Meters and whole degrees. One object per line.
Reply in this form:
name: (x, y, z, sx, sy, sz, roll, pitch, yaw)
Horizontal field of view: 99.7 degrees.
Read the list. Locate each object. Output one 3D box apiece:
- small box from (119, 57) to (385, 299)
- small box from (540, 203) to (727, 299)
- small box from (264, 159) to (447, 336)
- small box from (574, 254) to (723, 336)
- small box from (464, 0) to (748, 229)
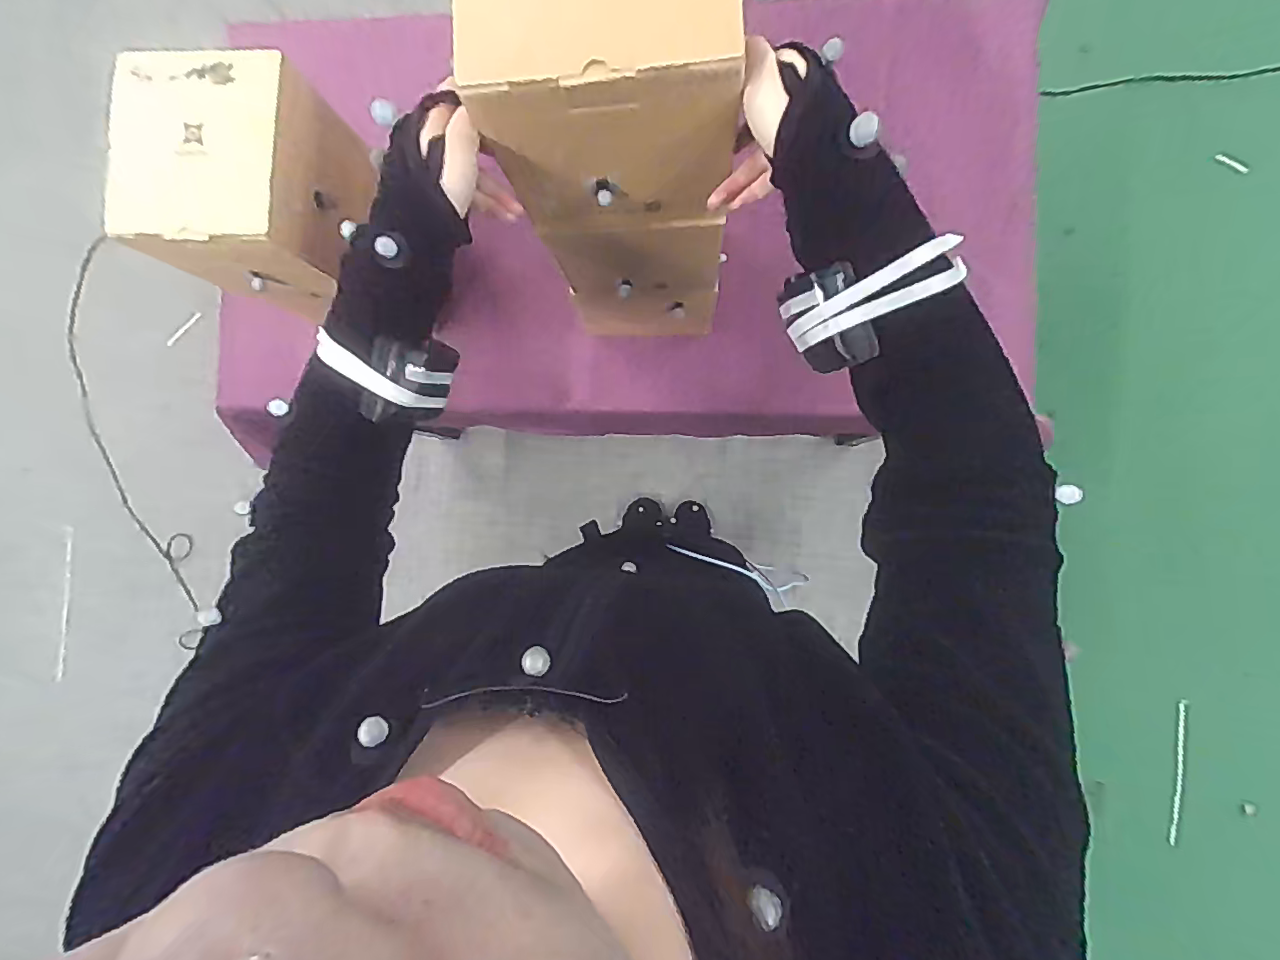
small box: (-0.399, -0.307, 0.583, 0.168, 0.176, 0.179, 4, 90, 4)
small box: (0.001, -0.301, 0.551, 0.168, 0.176, 0.179, 0, 90, 6)
small box: (-0.381, -0.311, 0.747, 0.168, 0.176, 0.179, 3, 90, 5)
small box: (0.016, -0.295, 0.714, 0.179, 0.176, 0.168, 1, 89, 5)
small box: (-0.015, -0.310, 0.390, 0.168, 0.176, 0.179, -2, 90, 6)
